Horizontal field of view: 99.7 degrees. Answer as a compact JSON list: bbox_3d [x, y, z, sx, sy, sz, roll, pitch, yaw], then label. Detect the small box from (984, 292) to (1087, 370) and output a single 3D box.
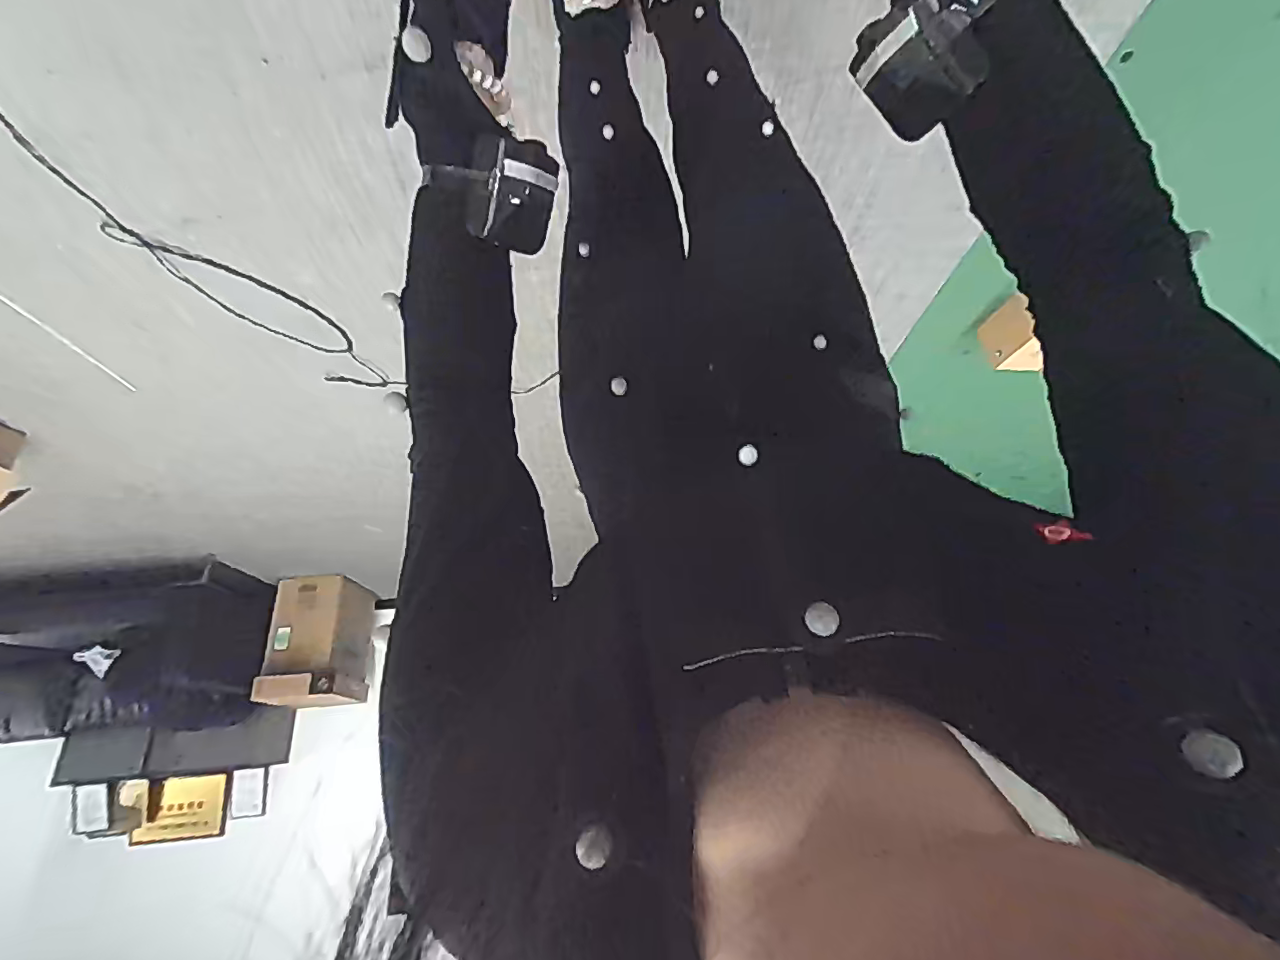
[{"bbox_3d":[1.221,-0.463,1.688,0.168,0.176,0.179,0,155,-10],"label":"small box"}]
